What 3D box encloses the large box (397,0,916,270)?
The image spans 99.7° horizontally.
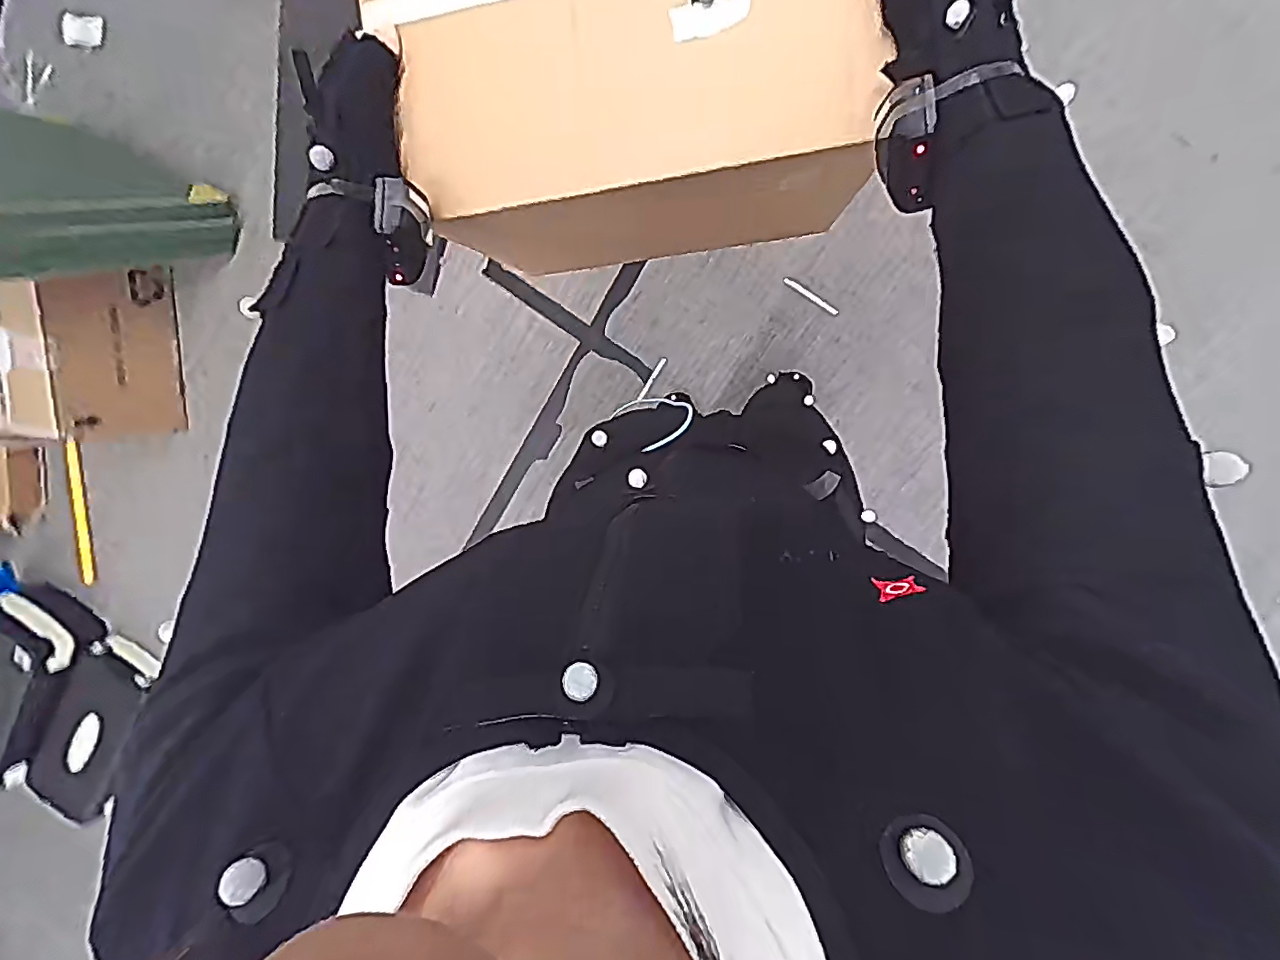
[{"bbox_3d":[0.015,-0.430,0.556,0.408,0.320,0.320,-5,102,9],"label":"large box"}]
